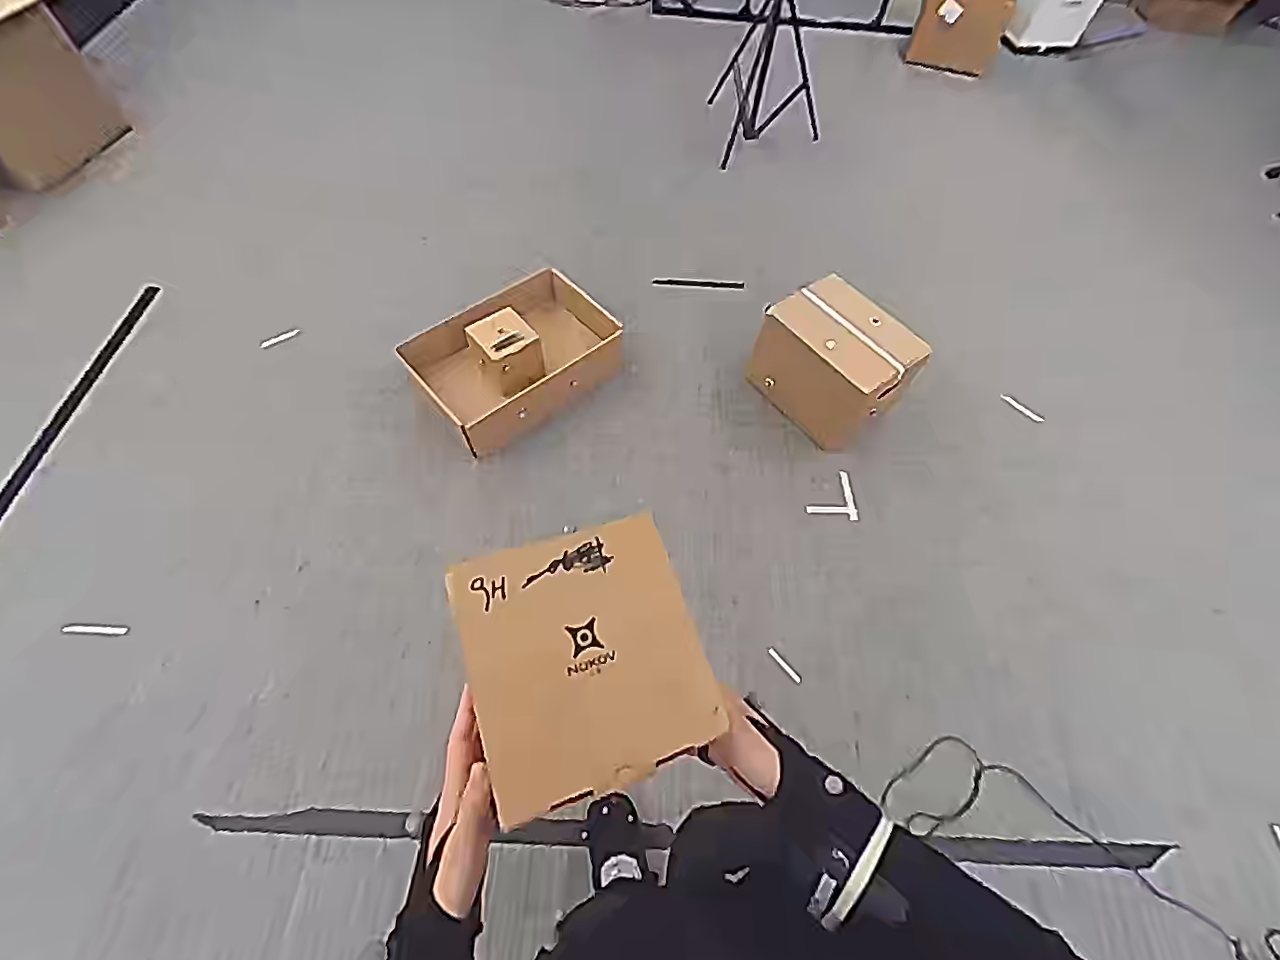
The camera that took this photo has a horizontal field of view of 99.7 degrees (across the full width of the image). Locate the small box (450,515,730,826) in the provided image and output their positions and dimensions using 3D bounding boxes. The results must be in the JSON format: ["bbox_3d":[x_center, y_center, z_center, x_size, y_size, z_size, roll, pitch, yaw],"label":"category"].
[{"bbox_3d":[-0.053,0.152,0.458,0.168,0.176,0.179,-13,70,-20],"label":"small box"}]
